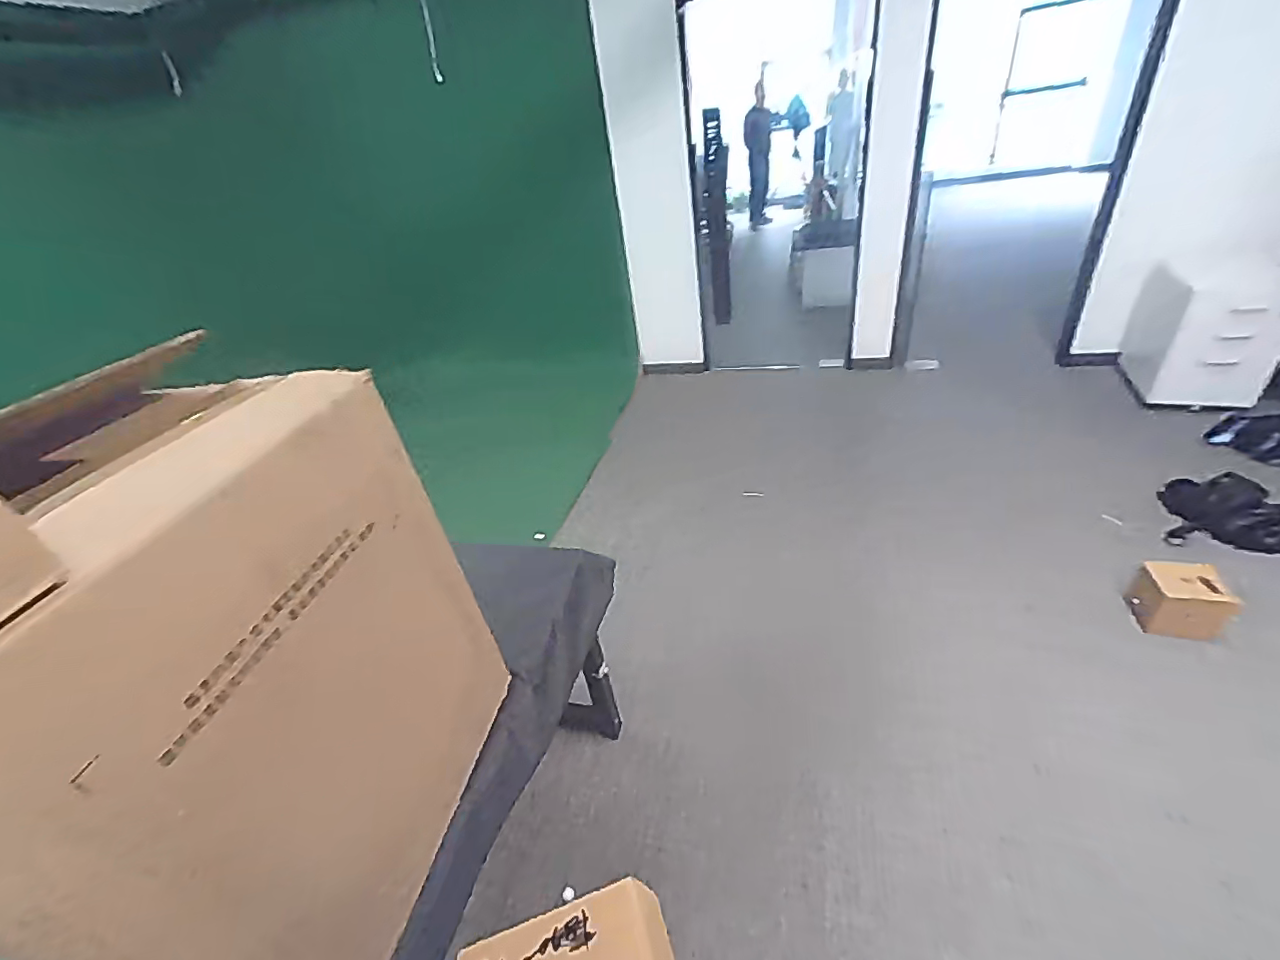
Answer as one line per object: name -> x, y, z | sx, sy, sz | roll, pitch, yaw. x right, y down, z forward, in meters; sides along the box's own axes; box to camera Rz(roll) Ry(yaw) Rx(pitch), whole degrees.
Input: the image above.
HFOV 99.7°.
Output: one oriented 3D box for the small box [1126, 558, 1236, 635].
small box -> 1.707, 0.371, 1.719 | 0.179, 0.176, 0.168 | 1, 35, 18
